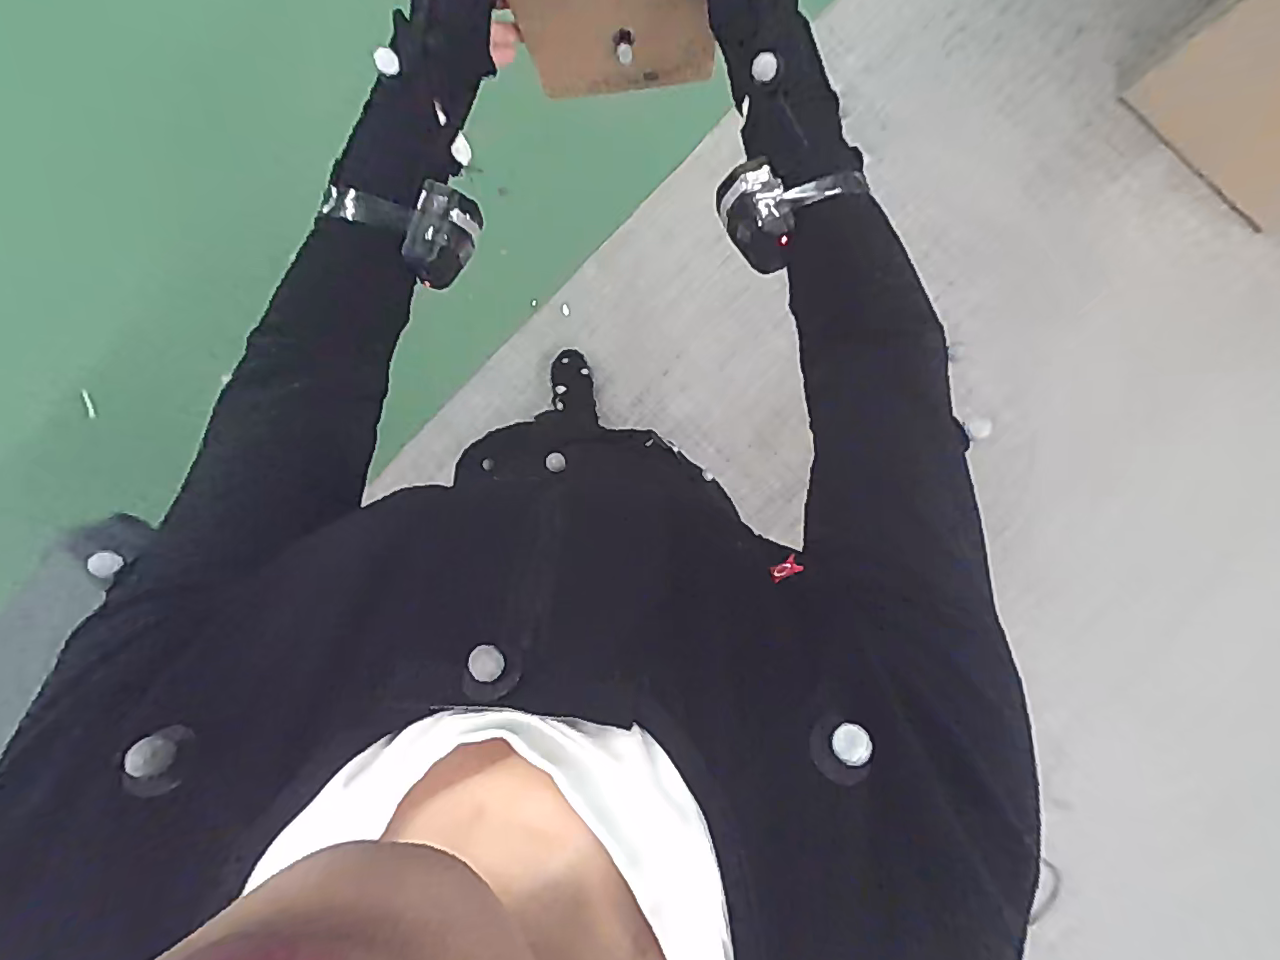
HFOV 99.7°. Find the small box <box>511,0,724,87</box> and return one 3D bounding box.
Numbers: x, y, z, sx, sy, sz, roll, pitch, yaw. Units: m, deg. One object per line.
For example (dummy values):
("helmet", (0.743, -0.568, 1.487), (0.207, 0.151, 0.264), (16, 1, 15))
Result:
("small box", (-0.017, -0.455, 0.440), (0.168, 0.176, 0.179), (-3, 98, 4))
